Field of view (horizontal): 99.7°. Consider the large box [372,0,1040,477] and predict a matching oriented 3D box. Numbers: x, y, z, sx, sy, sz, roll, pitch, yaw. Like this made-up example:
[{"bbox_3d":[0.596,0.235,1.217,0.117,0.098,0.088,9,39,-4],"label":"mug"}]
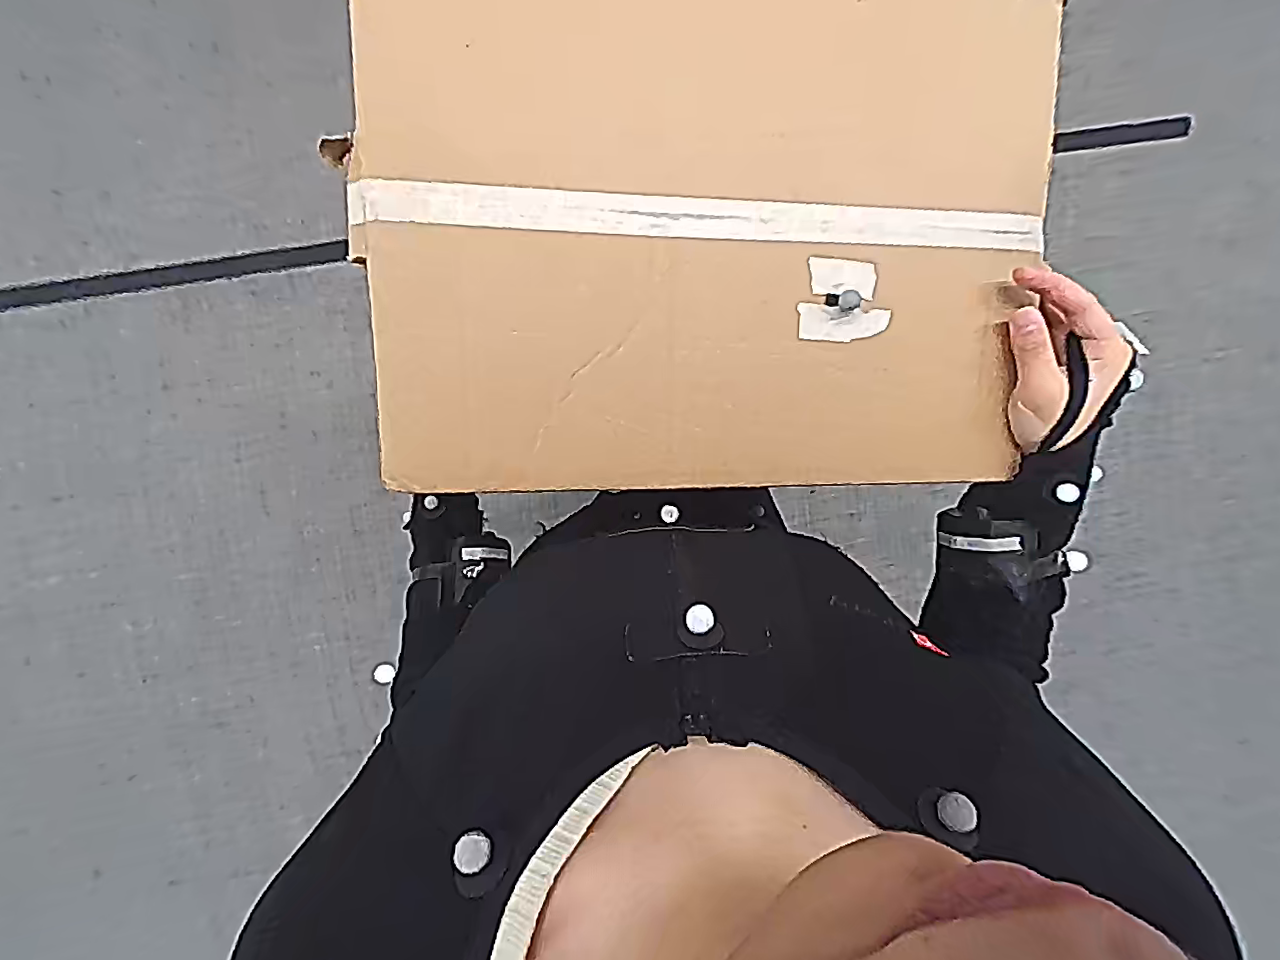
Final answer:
[{"bbox_3d":[0.030,-0.179,0.468,0.408,0.320,0.320,-1,98,-10],"label":"large box"}]
